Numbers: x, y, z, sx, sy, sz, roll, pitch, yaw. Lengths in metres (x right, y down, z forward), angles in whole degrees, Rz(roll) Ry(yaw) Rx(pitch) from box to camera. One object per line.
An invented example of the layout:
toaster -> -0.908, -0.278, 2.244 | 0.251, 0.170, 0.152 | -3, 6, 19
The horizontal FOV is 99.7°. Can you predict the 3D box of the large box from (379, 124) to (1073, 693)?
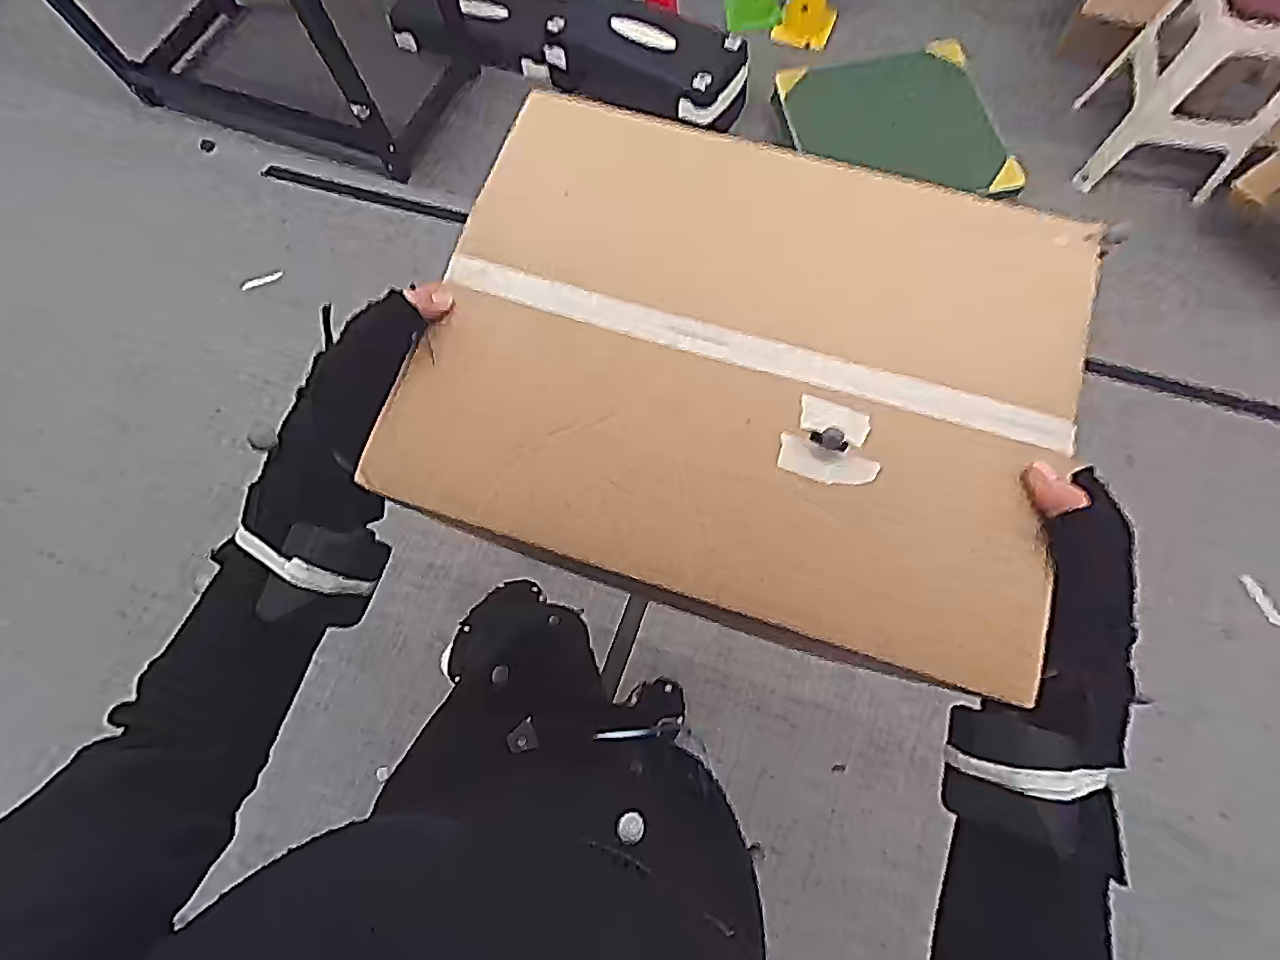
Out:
large box -> 0.067, -0.038, 0.501 | 0.408, 0.320, 0.320 | 18, 78, 5
